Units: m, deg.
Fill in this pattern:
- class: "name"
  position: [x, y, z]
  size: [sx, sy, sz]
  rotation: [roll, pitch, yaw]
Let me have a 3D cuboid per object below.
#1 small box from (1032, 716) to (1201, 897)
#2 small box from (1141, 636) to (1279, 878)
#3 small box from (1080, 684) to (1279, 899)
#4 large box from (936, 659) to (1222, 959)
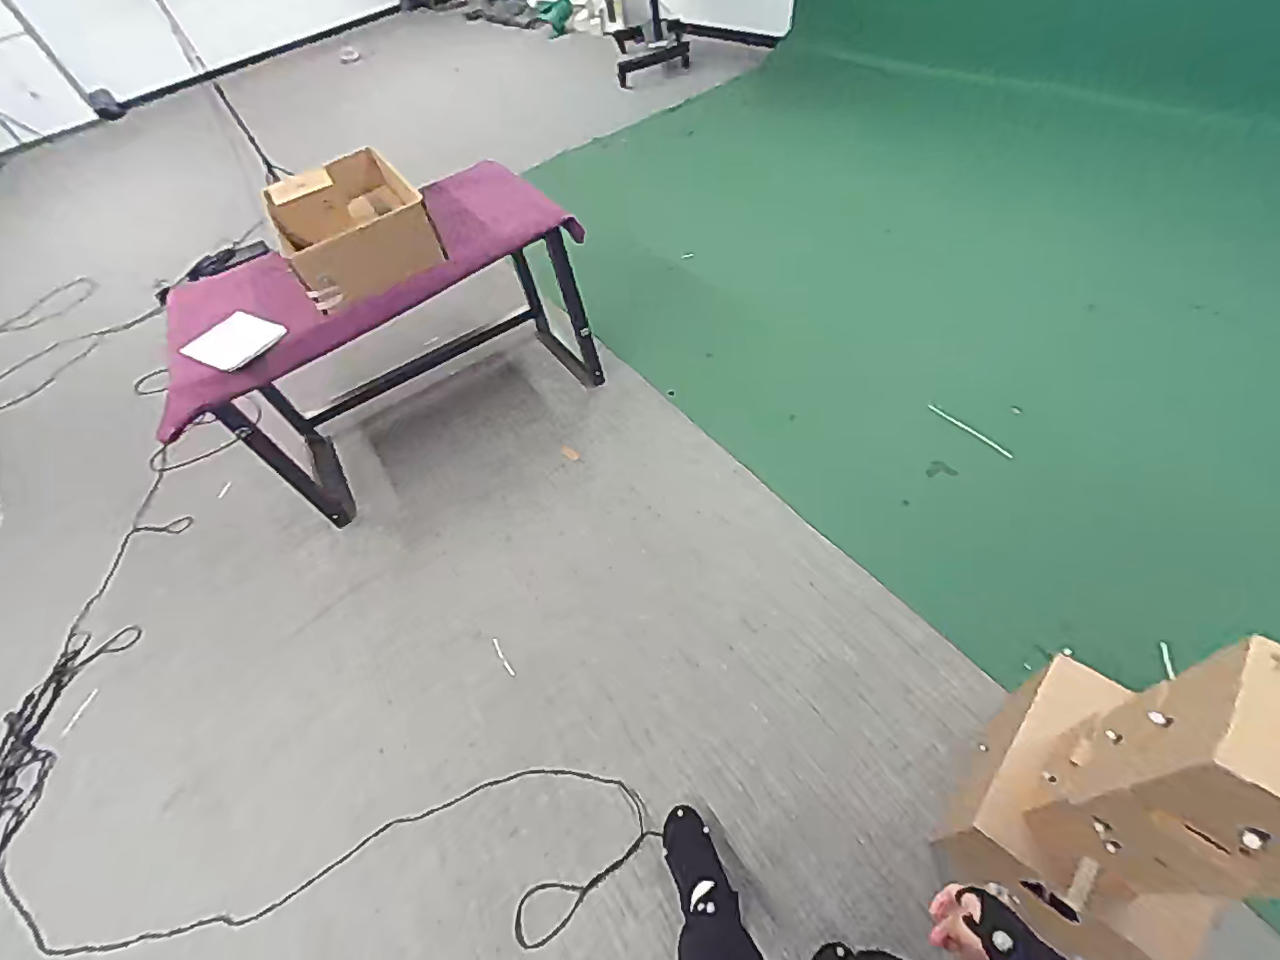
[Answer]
- class: "small box"
  position: [0.762, 0.515, 0.848]
  size: [0.179, 0.176, 0.168]
  rotation: [32, 65, 32]
- class: "small box"
  position: [0.707, 0.315, 0.594]
  size: [0.168, 0.176, 0.179]
  rotation: [31, 65, 32]
- class: "small box"
  position: [0.733, 0.417, 0.720]
  size: [0.168, 0.176, 0.179]
  rotation: [30, 63, 32]
- class: "large box"
  position: [0.841, 0.645, 1.044]
  size: [0.320, 0.320, 0.408]
  rotation: [32, 63, 30]
